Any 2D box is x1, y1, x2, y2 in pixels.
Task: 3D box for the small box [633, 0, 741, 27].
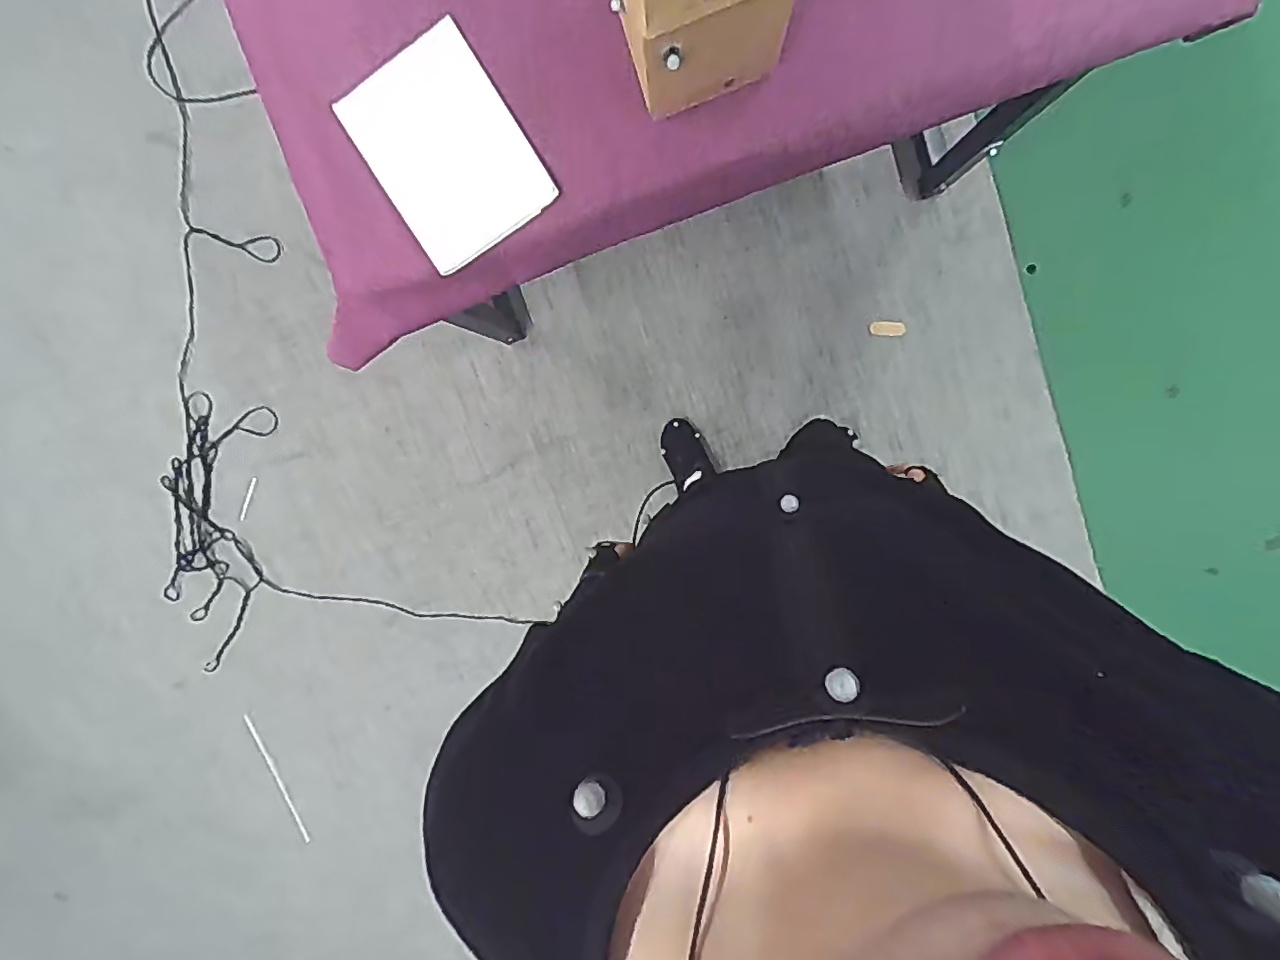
[{"bbox_3d":[0.051,-0.537,0.454,0.168,0.176,0.179,-17,94,6],"label":"small box"}]
